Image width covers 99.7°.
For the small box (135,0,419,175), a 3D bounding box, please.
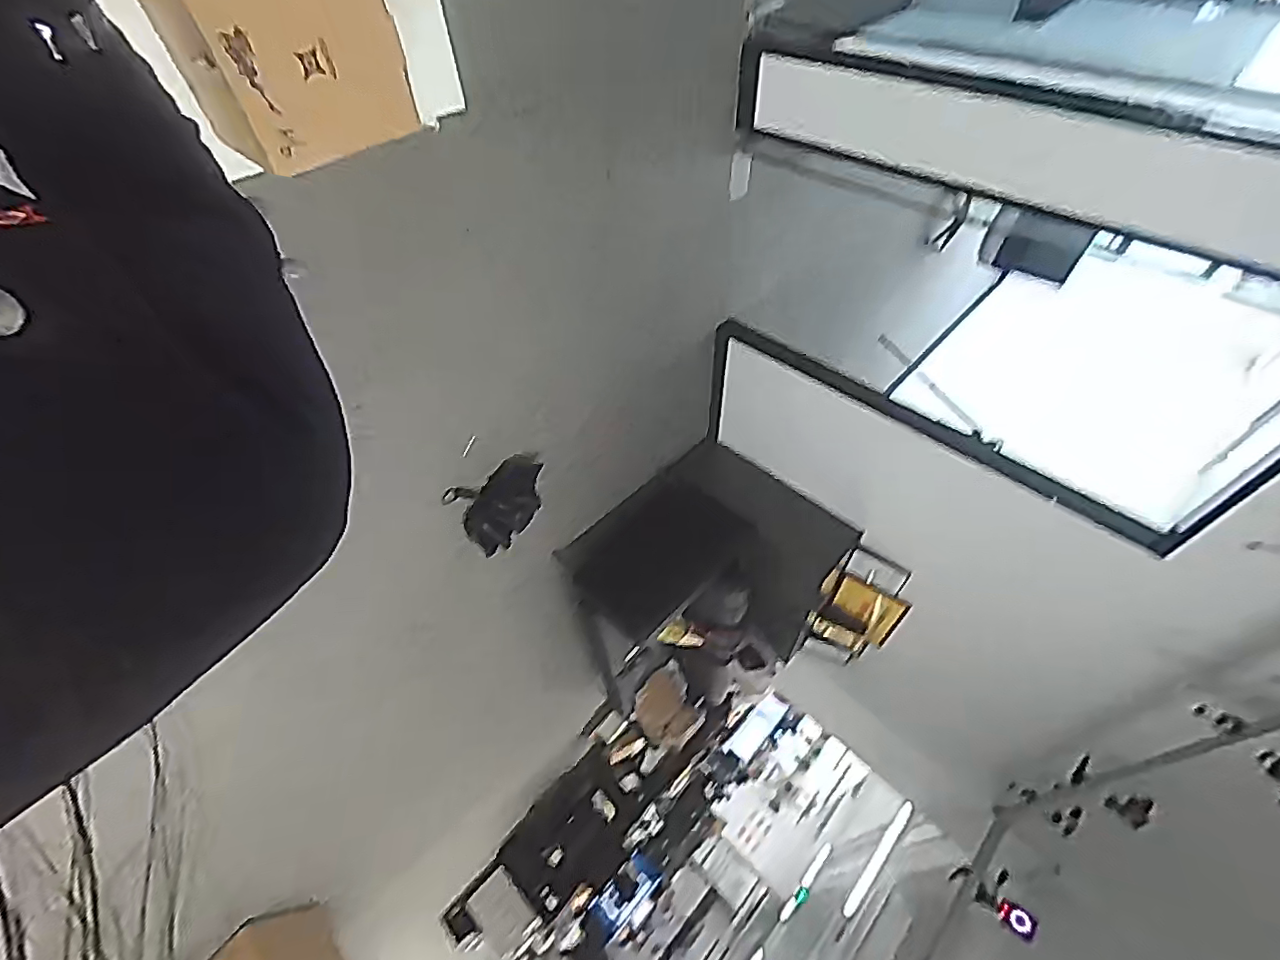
[{"bbox_3d":[-0.376,-0.452,0.565,0.179,0.176,0.168,-40,149,-26],"label":"small box"}]
